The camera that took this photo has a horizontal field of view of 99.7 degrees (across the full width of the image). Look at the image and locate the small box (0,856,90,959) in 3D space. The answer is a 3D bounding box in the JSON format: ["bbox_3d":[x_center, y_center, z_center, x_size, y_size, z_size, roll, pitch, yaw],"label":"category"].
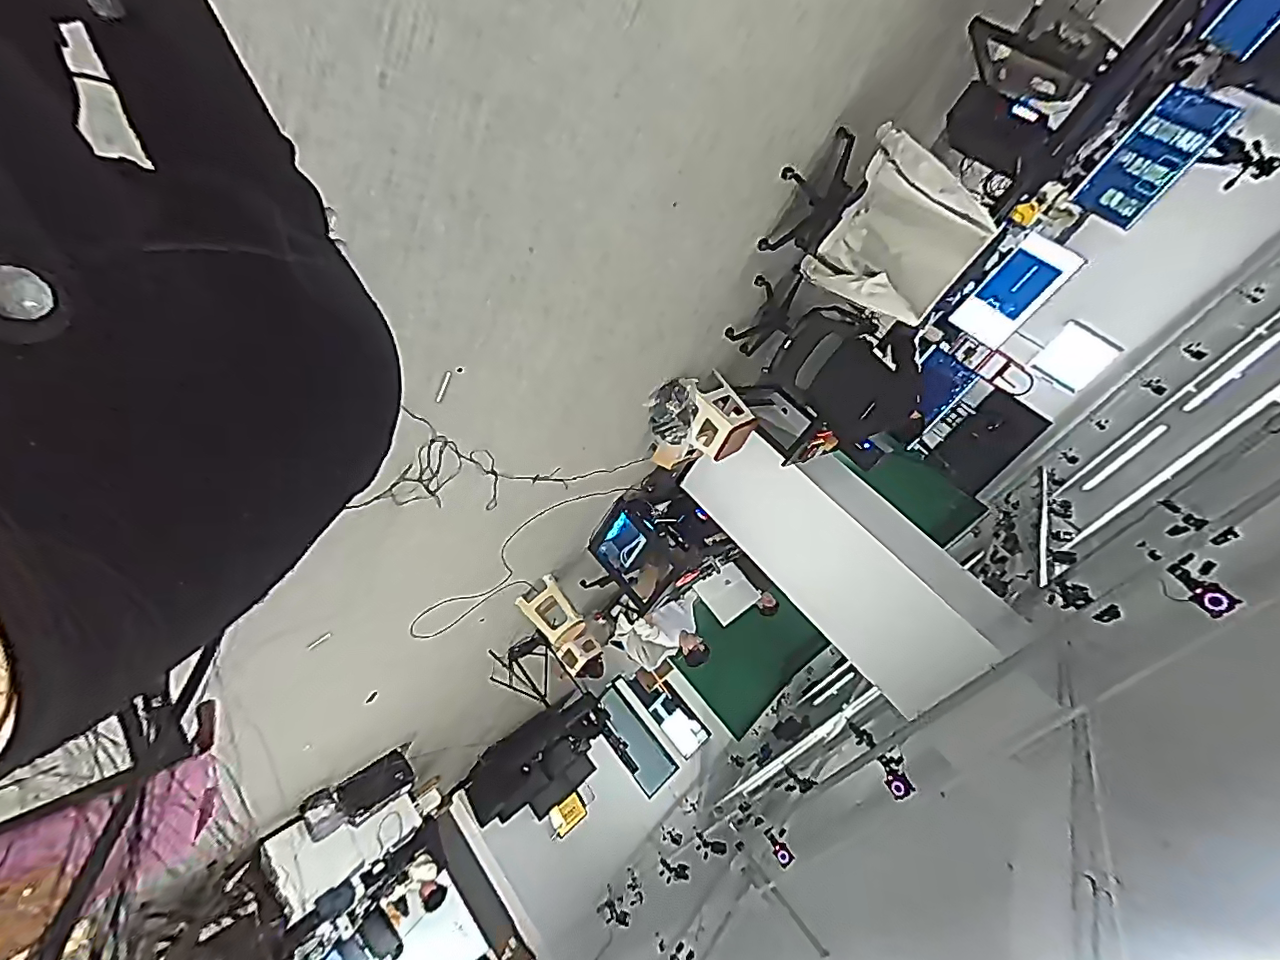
[{"bbox_3d":[-1.389,1.008,1.228,0.168,0.176,0.179,-13,143,-54],"label":"small box"}]
